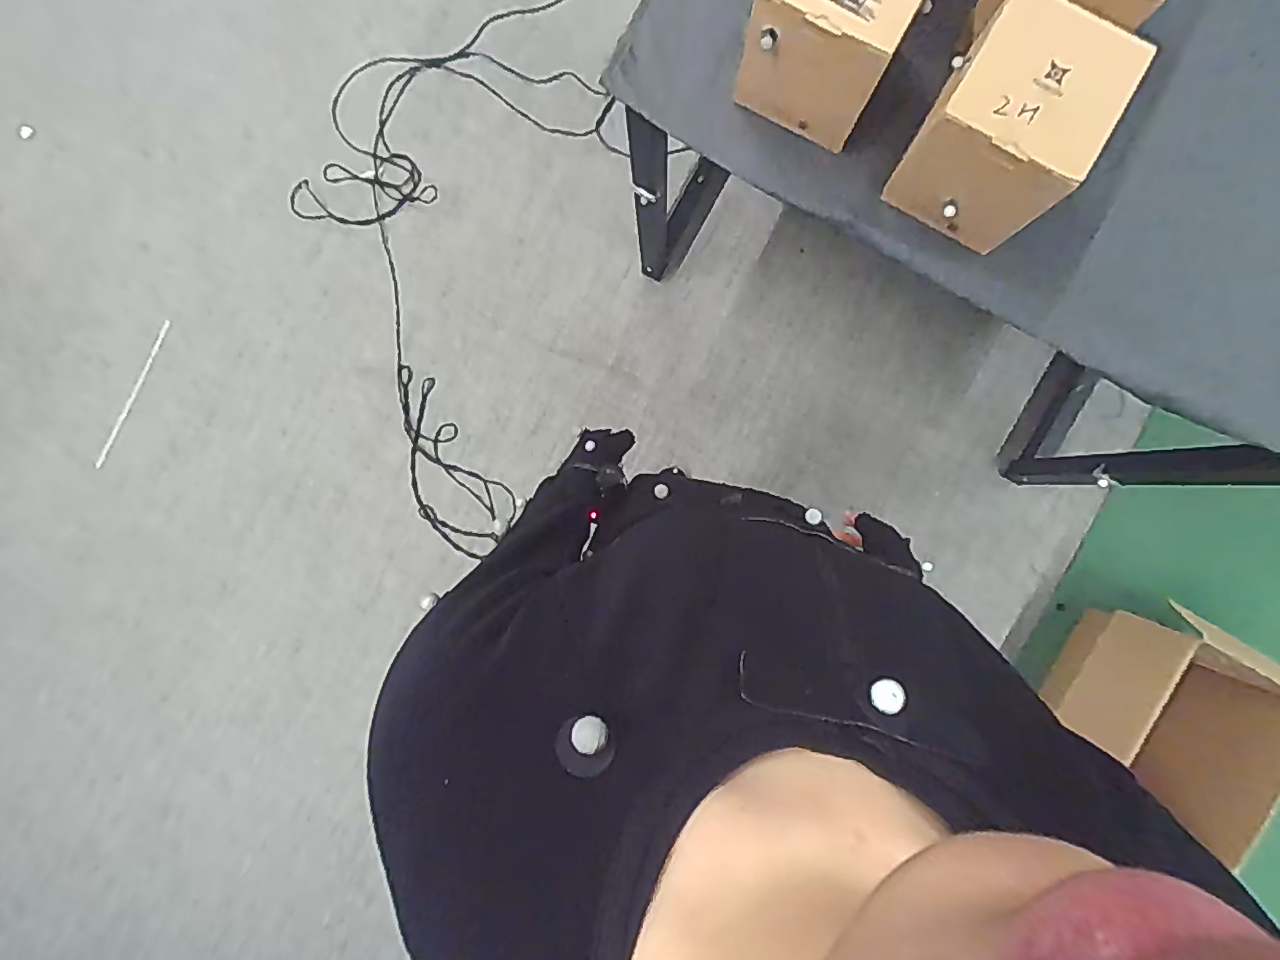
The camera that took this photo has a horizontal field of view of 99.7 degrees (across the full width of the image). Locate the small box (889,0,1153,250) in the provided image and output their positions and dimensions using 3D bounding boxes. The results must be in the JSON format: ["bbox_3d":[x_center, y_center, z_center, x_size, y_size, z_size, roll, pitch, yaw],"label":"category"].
[{"bbox_3d":[0.440,-0.423,0.659,0.168,0.176,0.179,30,89,2],"label":"small box"}]

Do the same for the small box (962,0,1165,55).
[{"bbox_3d":[0.541,-0.630,0.661,0.168,0.176,0.179,31,92,2],"label":"small box"}]
